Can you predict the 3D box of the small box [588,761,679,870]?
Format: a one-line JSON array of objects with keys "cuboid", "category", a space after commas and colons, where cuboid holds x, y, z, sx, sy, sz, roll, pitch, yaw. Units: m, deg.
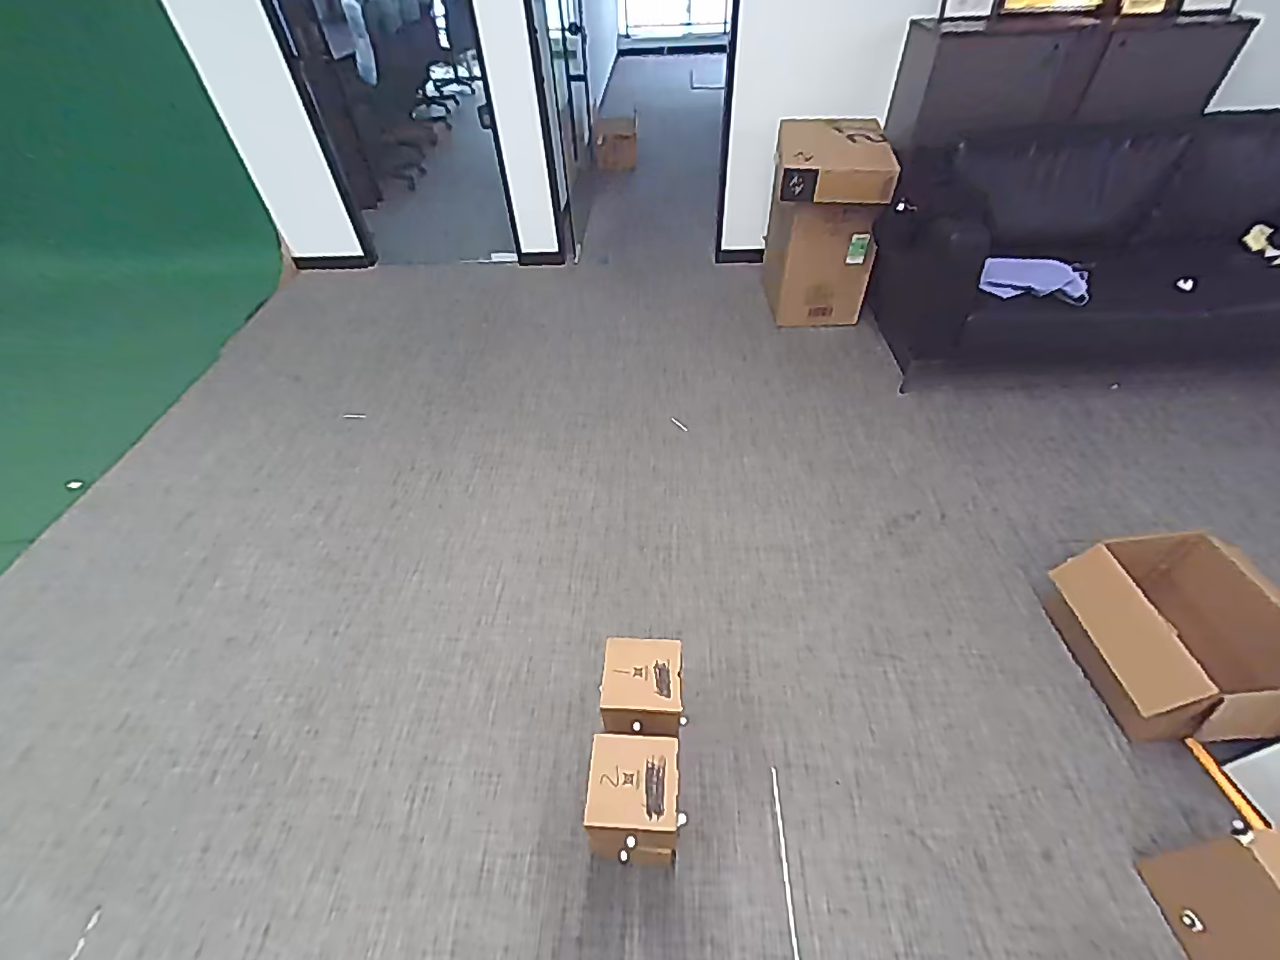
[{"cuboid": [-0.008, 0.756, 1.215, 0.179, 0.176, 0.168, 4, 47, 7], "category": "small box"}]
